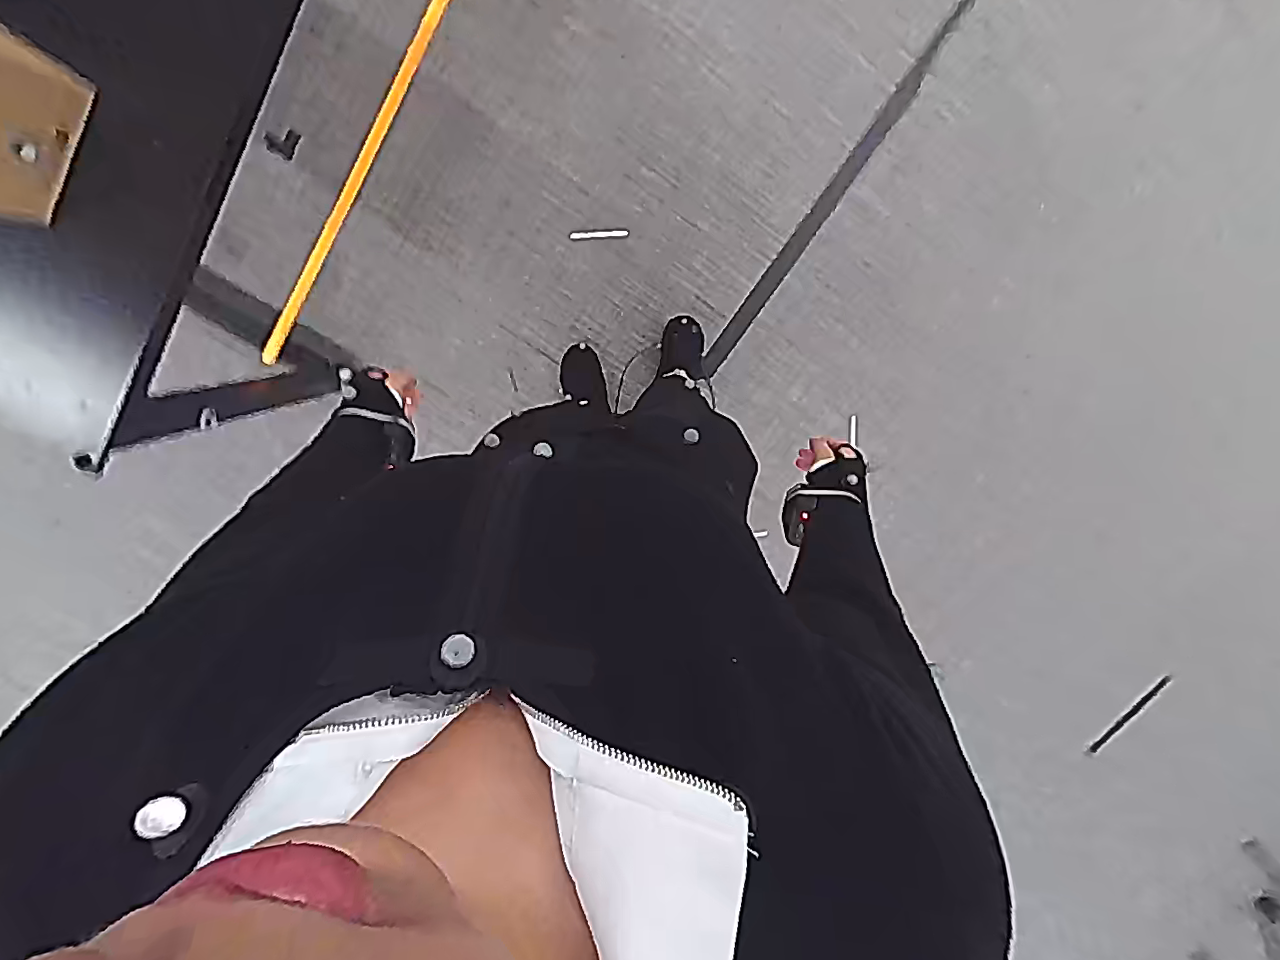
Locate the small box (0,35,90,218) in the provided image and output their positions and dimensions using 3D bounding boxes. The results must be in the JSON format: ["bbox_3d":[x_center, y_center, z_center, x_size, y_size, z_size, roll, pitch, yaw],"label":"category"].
[{"bbox_3d":[-0.724,-0.385,0.528,0.179,0.176,0.168,33,103,-11],"label":"small box"}]
